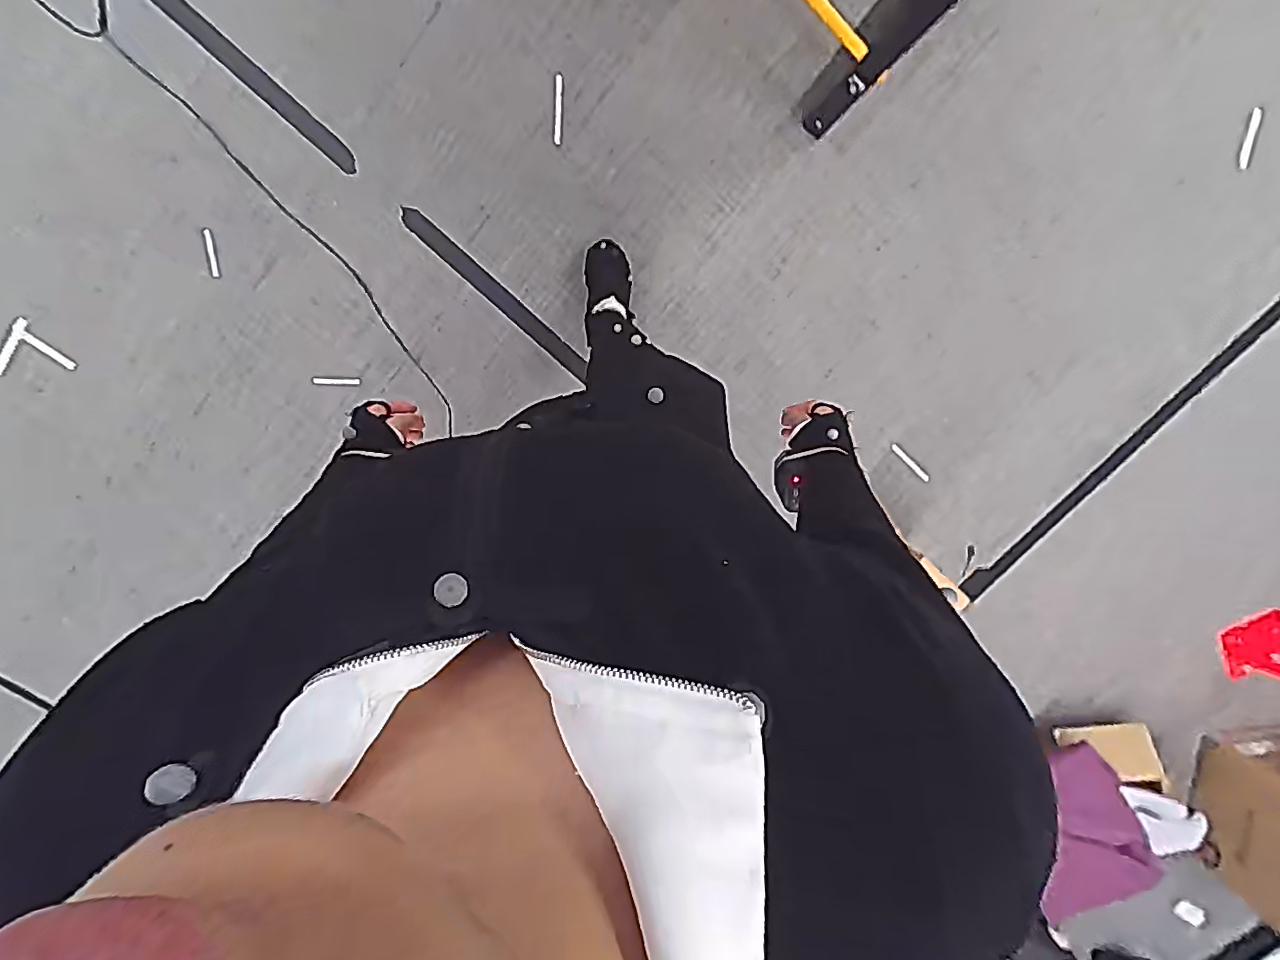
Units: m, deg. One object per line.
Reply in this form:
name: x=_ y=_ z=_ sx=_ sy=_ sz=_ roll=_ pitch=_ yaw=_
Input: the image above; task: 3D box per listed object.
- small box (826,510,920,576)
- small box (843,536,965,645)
small box: x=0.642 y=0.214 z=1.498 sx=0.168 sy=0.176 sz=0.179 roll=41 pitch=100 yaw=-12
small box: x=0.646 y=0.266 z=1.344 sx=0.179 sy=0.176 sz=0.168 roll=40 pitch=99 yaw=-10
